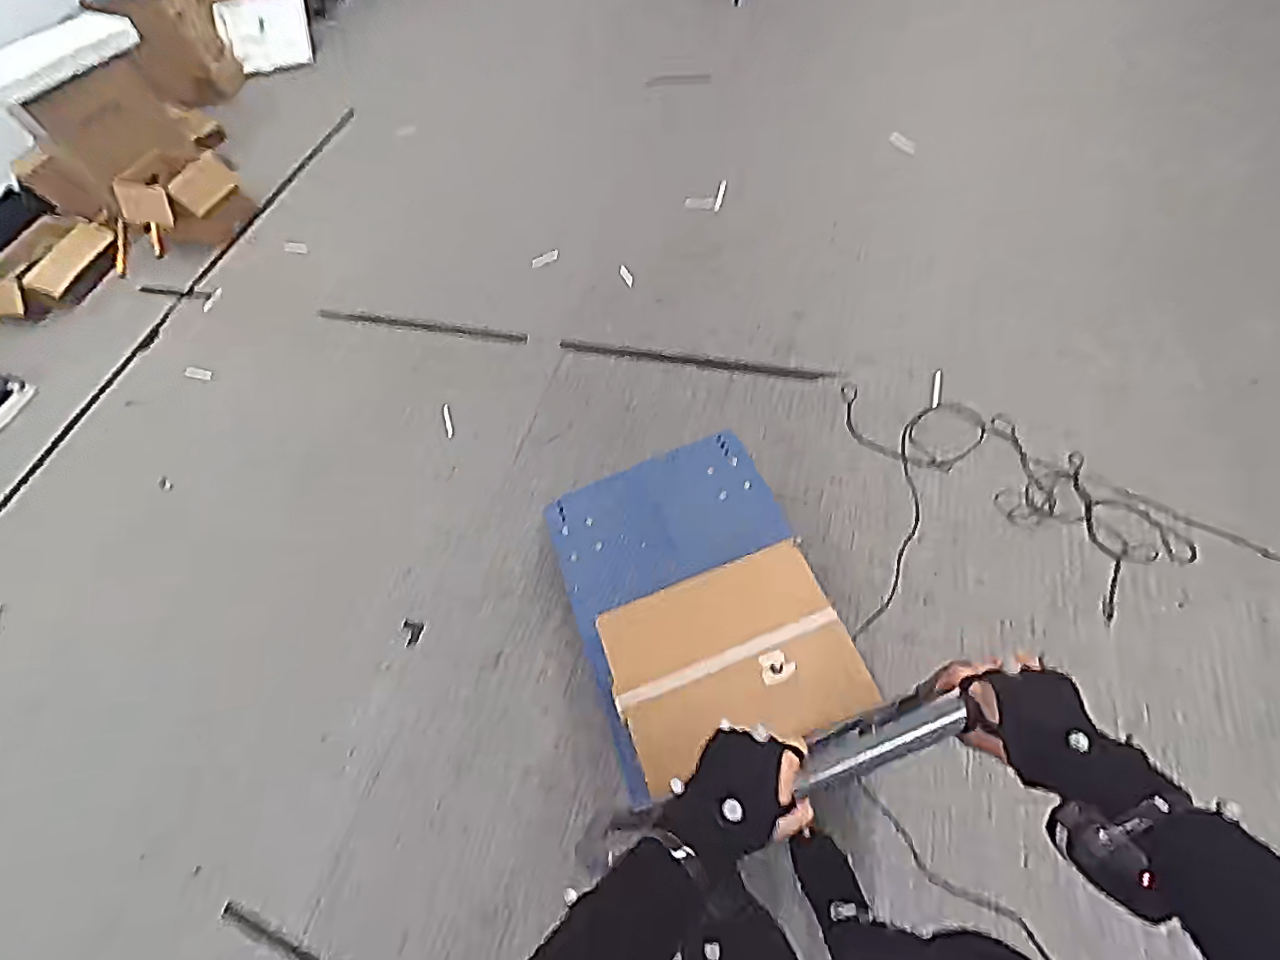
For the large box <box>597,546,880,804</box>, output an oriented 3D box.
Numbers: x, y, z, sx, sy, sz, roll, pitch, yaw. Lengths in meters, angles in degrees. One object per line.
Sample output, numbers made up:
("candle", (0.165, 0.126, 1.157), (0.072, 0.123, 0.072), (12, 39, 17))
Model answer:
("large box", (0.174, 0.389, 1.057), (0.408, 0.320, 0.320), (-21, 60, -3))
